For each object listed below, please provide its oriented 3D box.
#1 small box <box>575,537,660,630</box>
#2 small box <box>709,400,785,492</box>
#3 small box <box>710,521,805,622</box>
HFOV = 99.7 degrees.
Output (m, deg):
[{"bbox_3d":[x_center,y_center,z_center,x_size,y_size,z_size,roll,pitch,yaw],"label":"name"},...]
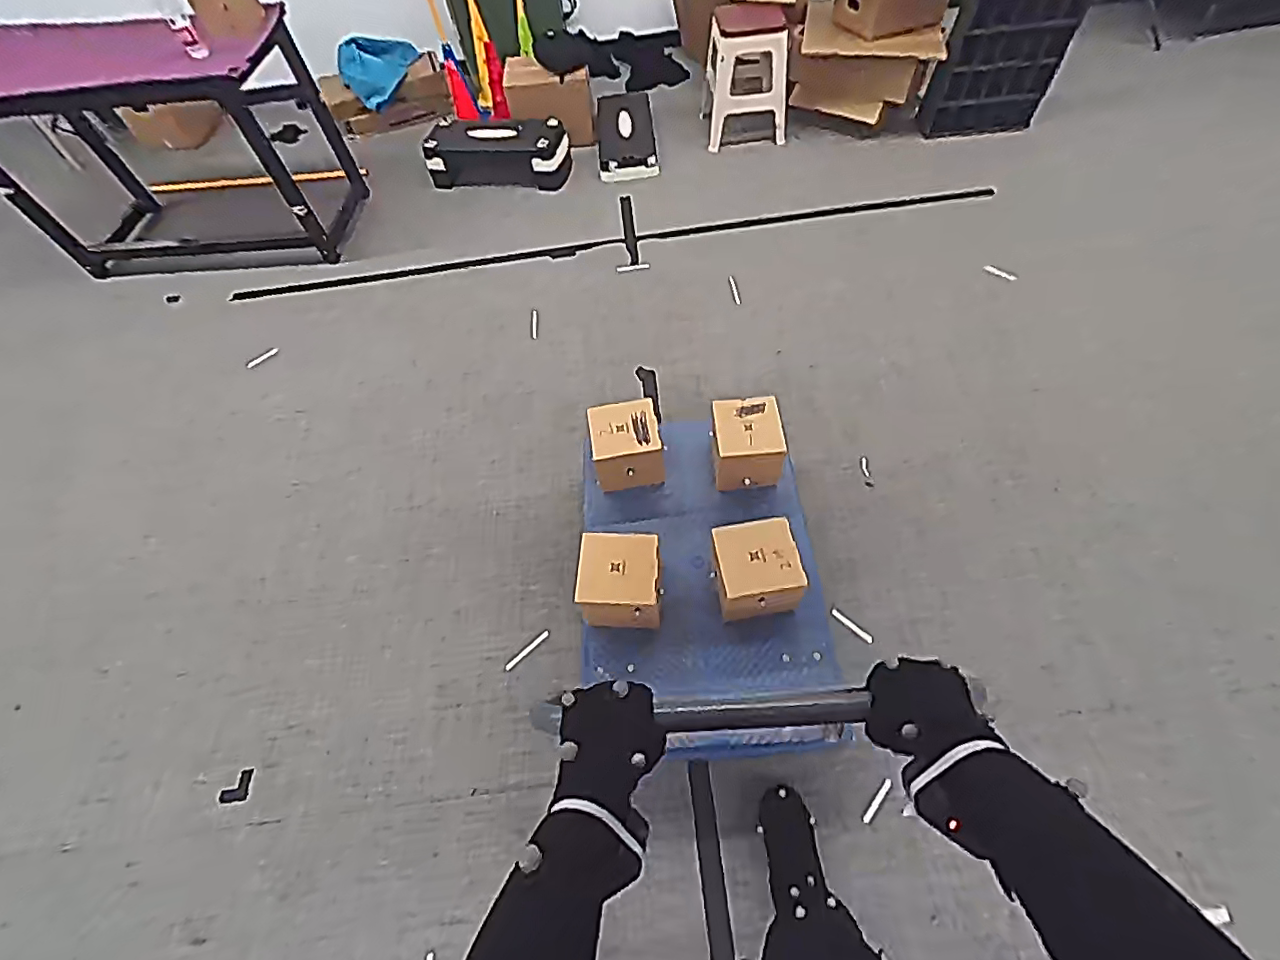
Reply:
[{"bbox_3d":[-0.045,0.243,1.256,0.179,0.176,0.168,1,58,4],"label":"small box"},{"bbox_3d":[0.275,-0.086,1.428,0.168,0.176,0.179,-5,59,2],"label":"small box"},{"bbox_3d":[0.261,0.215,1.245,0.179,0.176,0.168,-9,59,0],"label":"small box"}]
